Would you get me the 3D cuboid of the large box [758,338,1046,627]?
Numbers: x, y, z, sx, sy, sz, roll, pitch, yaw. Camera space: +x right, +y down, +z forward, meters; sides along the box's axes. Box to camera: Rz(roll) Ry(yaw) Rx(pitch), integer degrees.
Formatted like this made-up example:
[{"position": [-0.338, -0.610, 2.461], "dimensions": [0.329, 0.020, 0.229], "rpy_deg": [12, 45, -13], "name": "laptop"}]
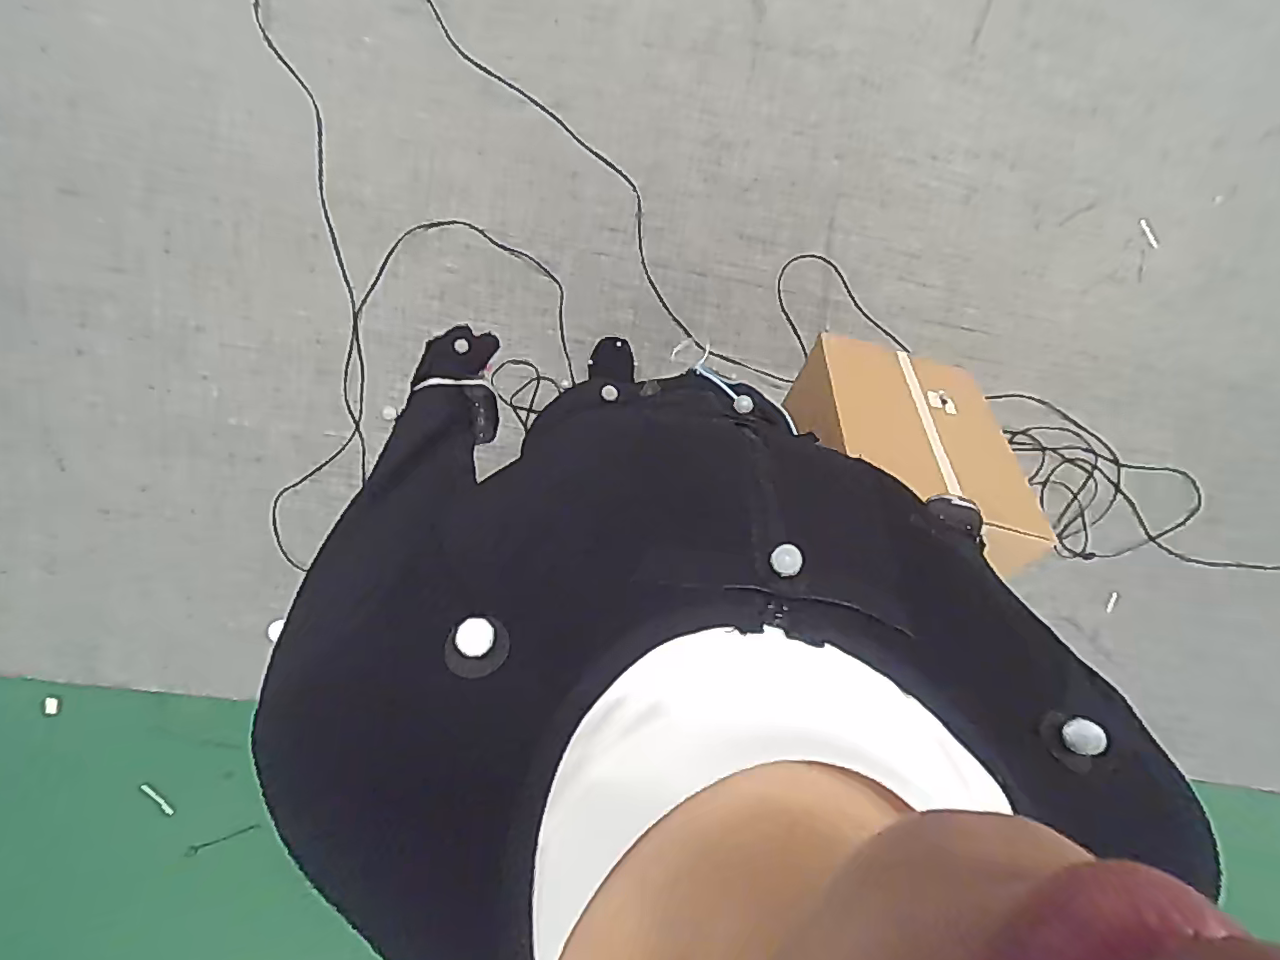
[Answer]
[{"position": [0.427, 0.005, 1.005], "dimensions": [0.320, 0.408, 0.320], "rpy_deg": [14, 137, -6], "name": "large box"}]
